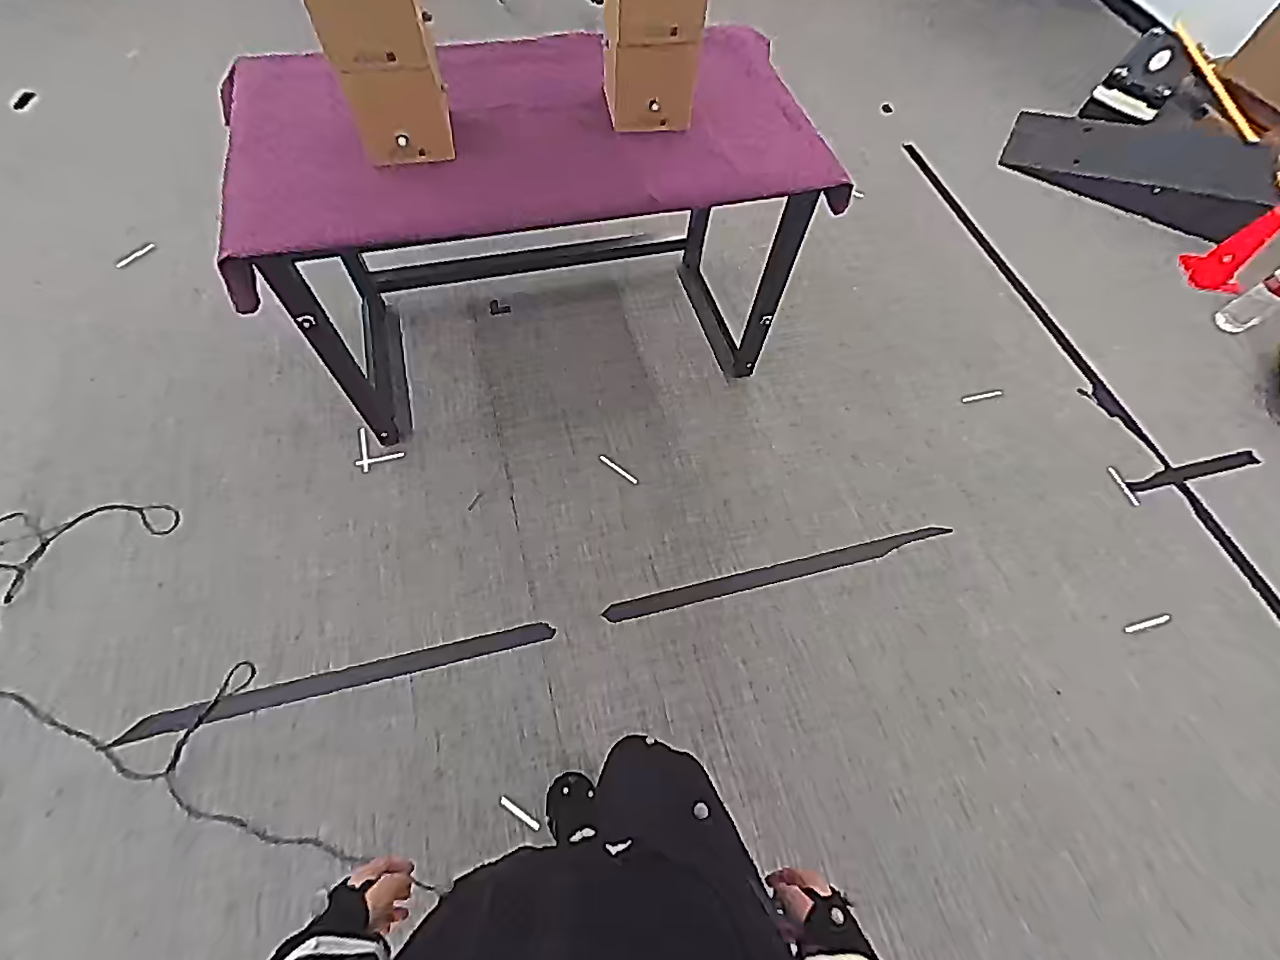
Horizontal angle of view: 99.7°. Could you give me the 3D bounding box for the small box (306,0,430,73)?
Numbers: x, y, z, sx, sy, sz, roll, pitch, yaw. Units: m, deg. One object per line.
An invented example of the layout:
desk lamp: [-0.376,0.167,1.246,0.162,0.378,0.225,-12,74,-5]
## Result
small box: [-0.457,-0.811,0.894,0.168,0.176,0.179,-10,64,-9]

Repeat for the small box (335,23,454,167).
small box: [-0.465,-0.738,1.040,0.168,0.176,0.179,-11,65,-9]

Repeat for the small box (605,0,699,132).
small box: [0.016,-0.867,1.137,0.168,0.176,0.179,-8,64,-7]
